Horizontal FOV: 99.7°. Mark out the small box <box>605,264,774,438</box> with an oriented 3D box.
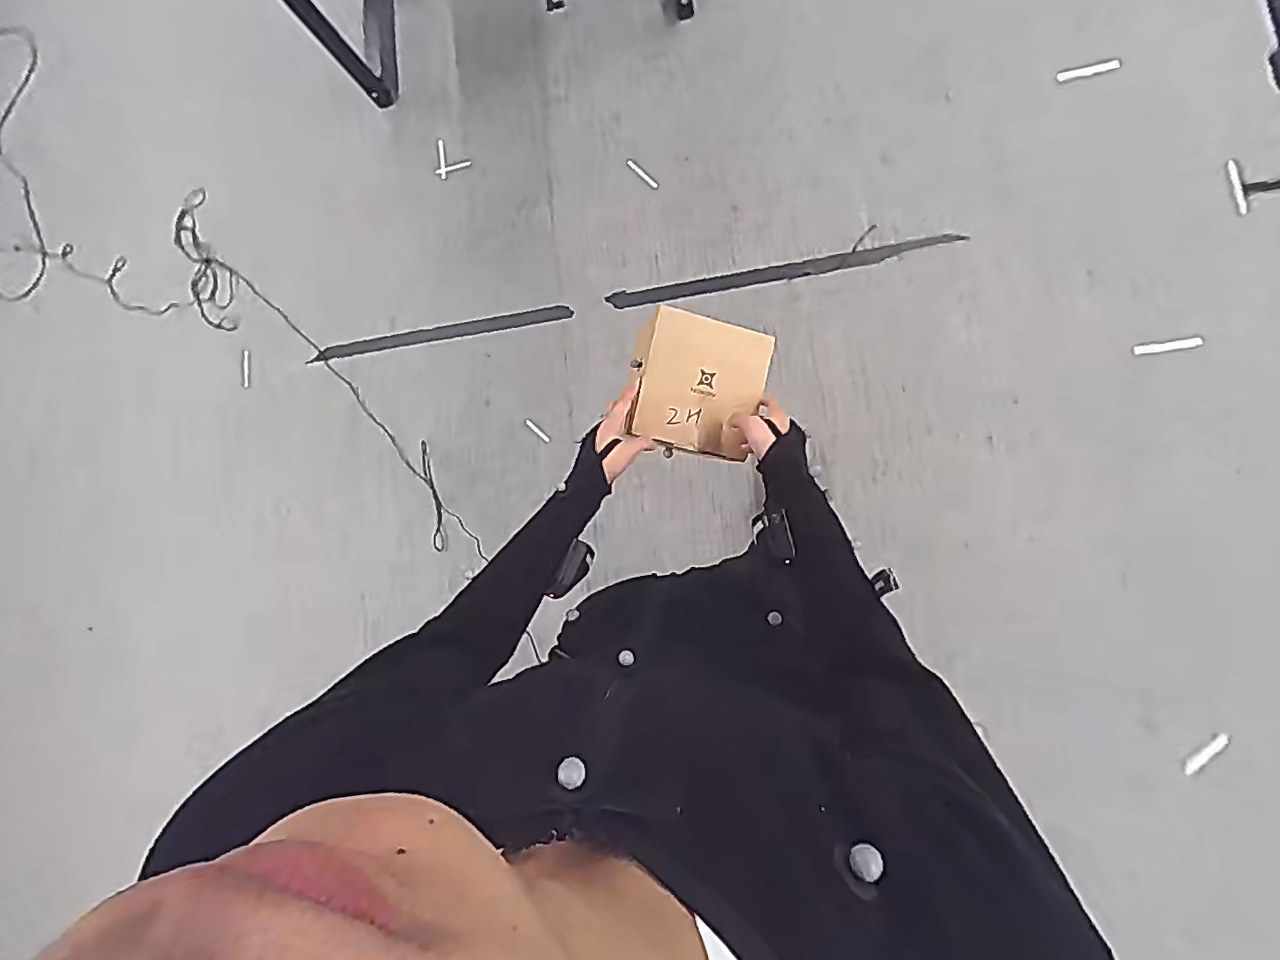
[{"bbox_3d":[0.055,-0.158,0.727,0.168,0.176,0.179,12,92,-11],"label":"small box"}]
